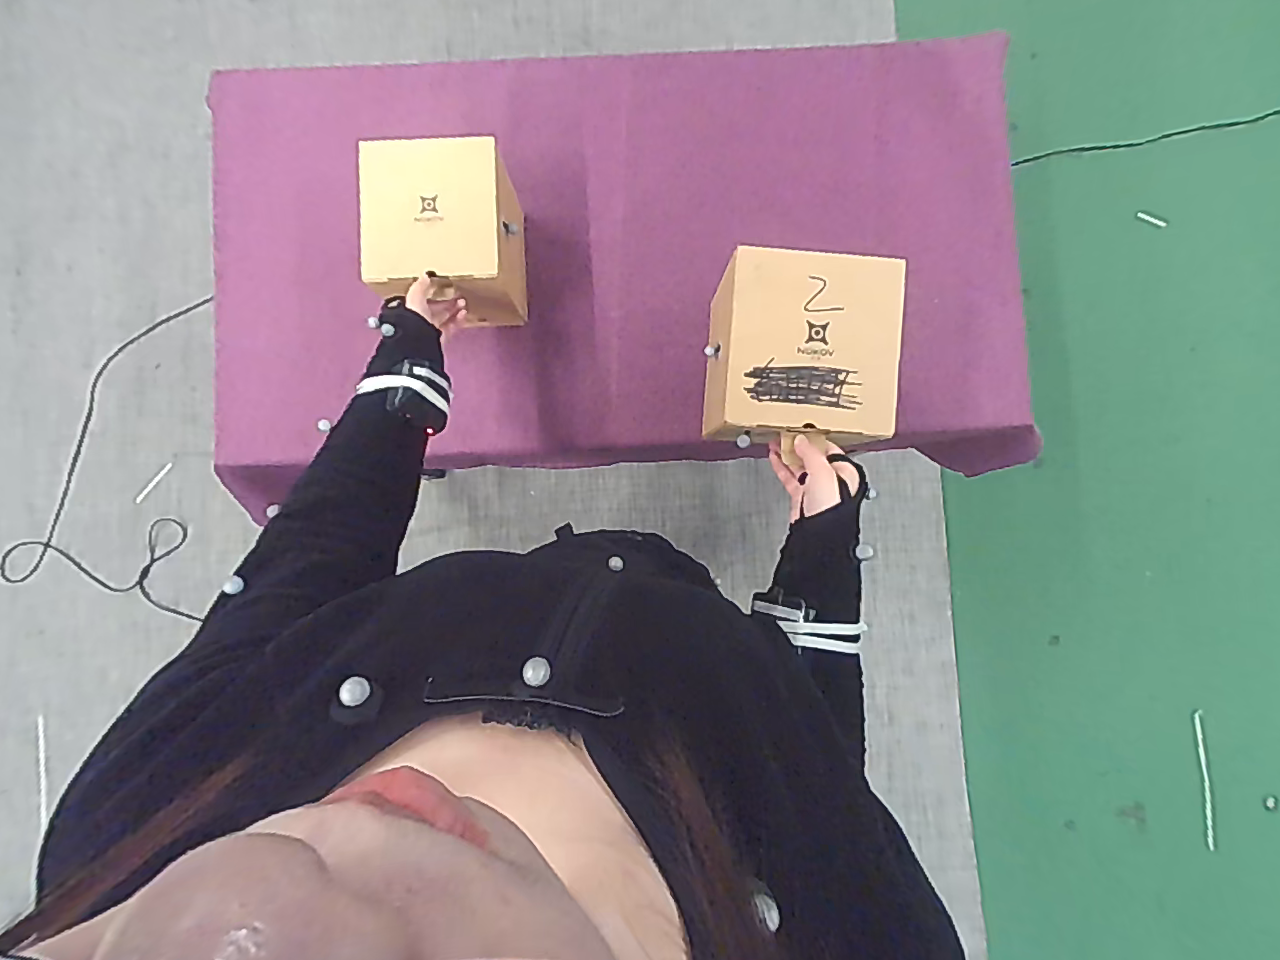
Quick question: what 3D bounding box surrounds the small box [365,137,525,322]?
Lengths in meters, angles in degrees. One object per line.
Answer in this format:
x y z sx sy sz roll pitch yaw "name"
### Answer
-0.256 -0.332 0.742 0.168 0.176 0.179 -2 88 -1 "small box"
